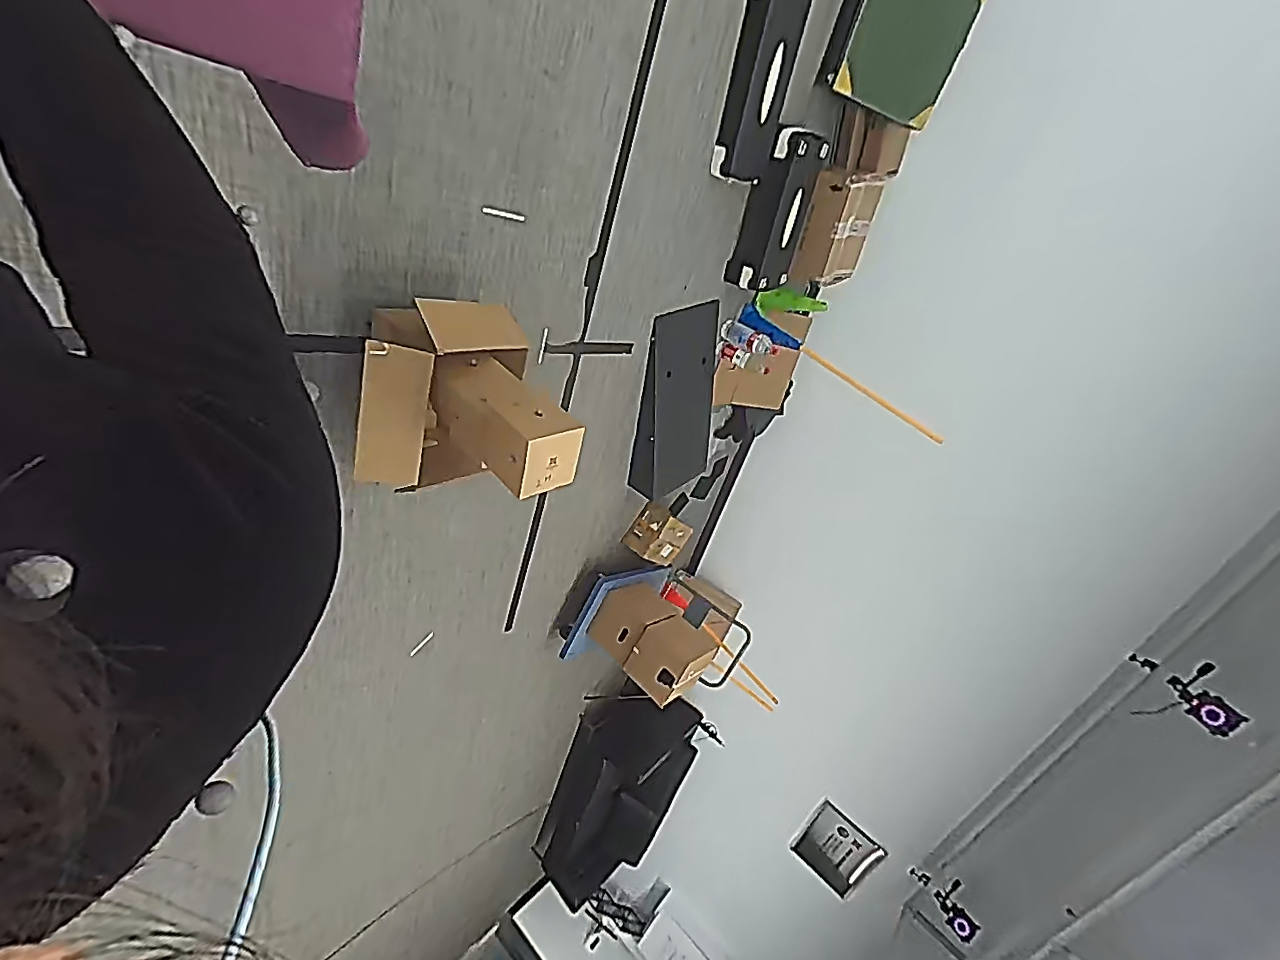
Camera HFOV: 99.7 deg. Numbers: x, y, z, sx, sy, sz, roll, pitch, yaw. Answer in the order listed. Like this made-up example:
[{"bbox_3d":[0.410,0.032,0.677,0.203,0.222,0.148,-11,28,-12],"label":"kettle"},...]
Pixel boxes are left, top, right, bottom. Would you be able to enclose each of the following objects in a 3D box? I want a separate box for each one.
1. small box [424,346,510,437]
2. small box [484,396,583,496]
[{"bbox_3d":[-0.486,-0.257,1.523,0.168,0.176,0.179,-32,147,-31],"label":"small box"},{"bbox_3d":[-0.268,-0.093,1.336,0.168,0.176,0.179,-20,140,-42],"label":"small box"}]
